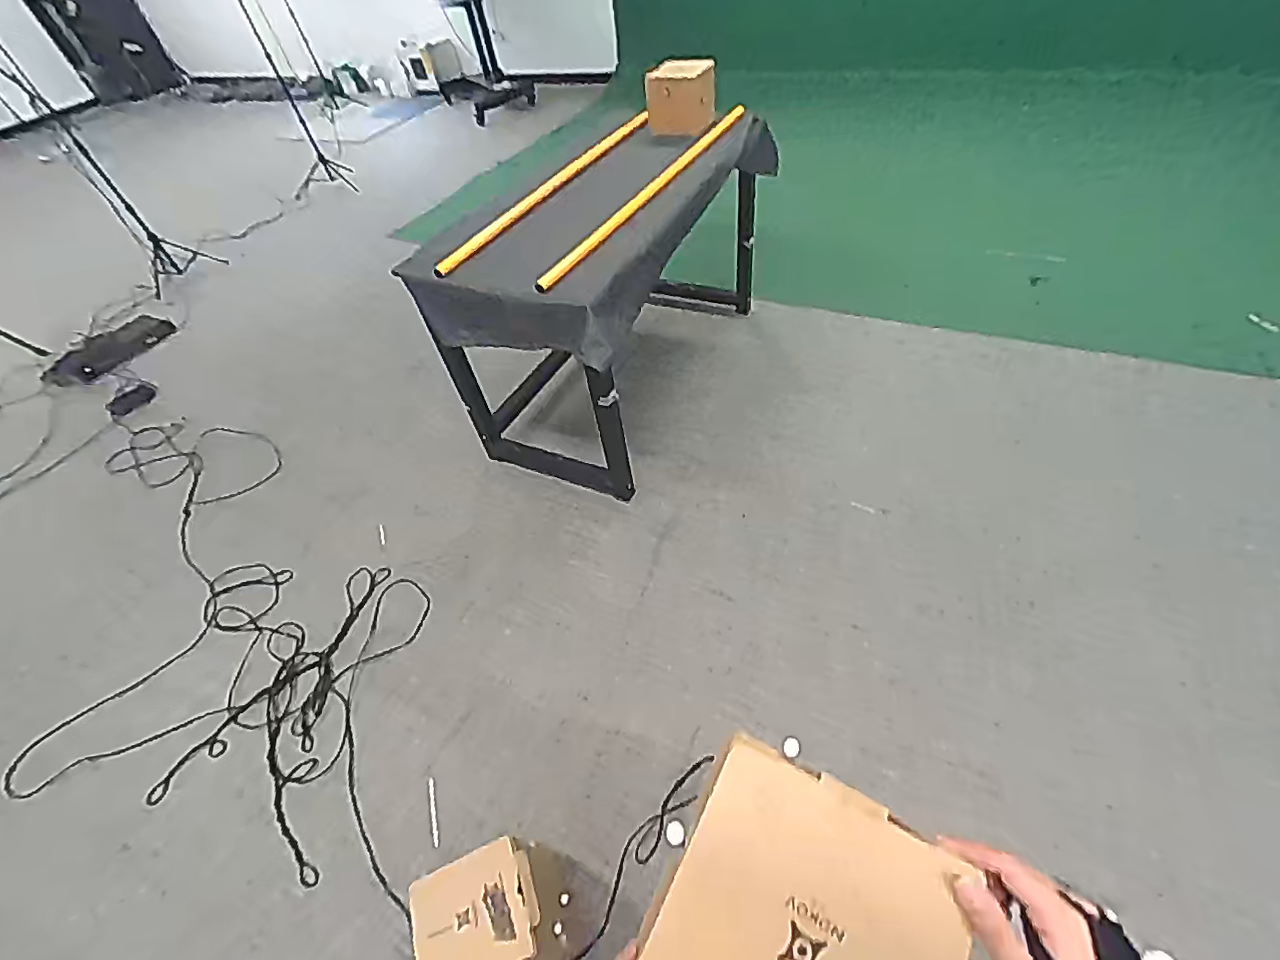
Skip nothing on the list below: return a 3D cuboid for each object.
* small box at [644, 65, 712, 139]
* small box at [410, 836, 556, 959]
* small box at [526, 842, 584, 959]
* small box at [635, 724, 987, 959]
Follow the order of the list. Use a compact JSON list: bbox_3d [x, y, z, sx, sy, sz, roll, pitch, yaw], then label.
[{"bbox_3d":[0.136,-1.268,1.818,0.179,0.176,0.168,18,55,23],"label":"small box"},{"bbox_3d":[-0.248,0.722,0.886,0.179,0.176,0.168,-22,48,-9],"label":"small box"},{"bbox_3d":[-0.220,0.823,1.014,0.168,0.176,0.179,-26,50,-13],"label":"small box"},{"bbox_3d":[0.108,0.301,0.391,0.168,0.176,0.179,23,71,18],"label":"small box"}]
